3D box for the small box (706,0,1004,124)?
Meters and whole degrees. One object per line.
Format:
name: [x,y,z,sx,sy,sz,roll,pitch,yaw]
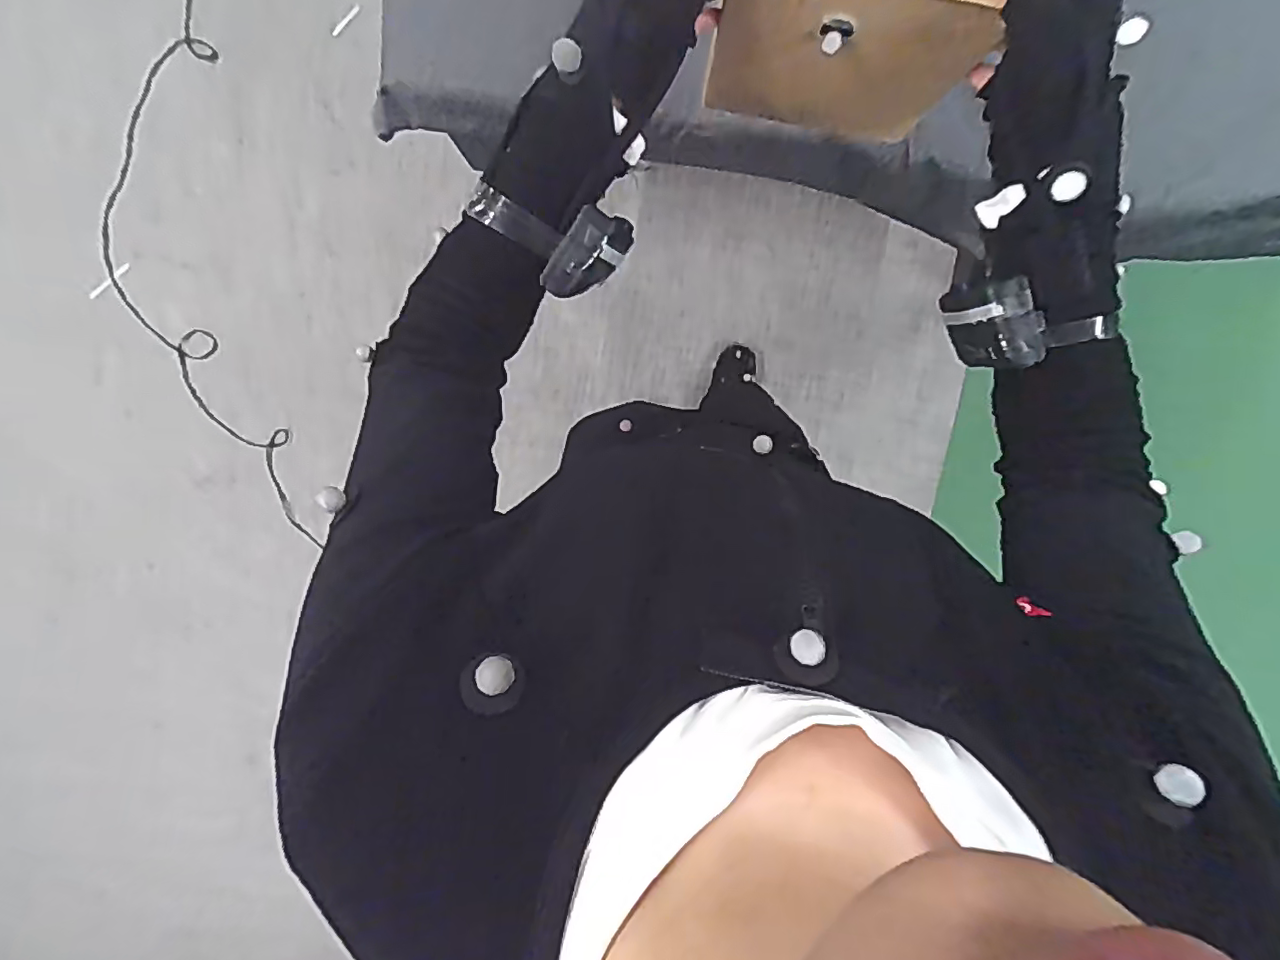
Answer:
small box: [0.149,-0.384,0.378,0.179,0.176,0.168,10,100,-1]
